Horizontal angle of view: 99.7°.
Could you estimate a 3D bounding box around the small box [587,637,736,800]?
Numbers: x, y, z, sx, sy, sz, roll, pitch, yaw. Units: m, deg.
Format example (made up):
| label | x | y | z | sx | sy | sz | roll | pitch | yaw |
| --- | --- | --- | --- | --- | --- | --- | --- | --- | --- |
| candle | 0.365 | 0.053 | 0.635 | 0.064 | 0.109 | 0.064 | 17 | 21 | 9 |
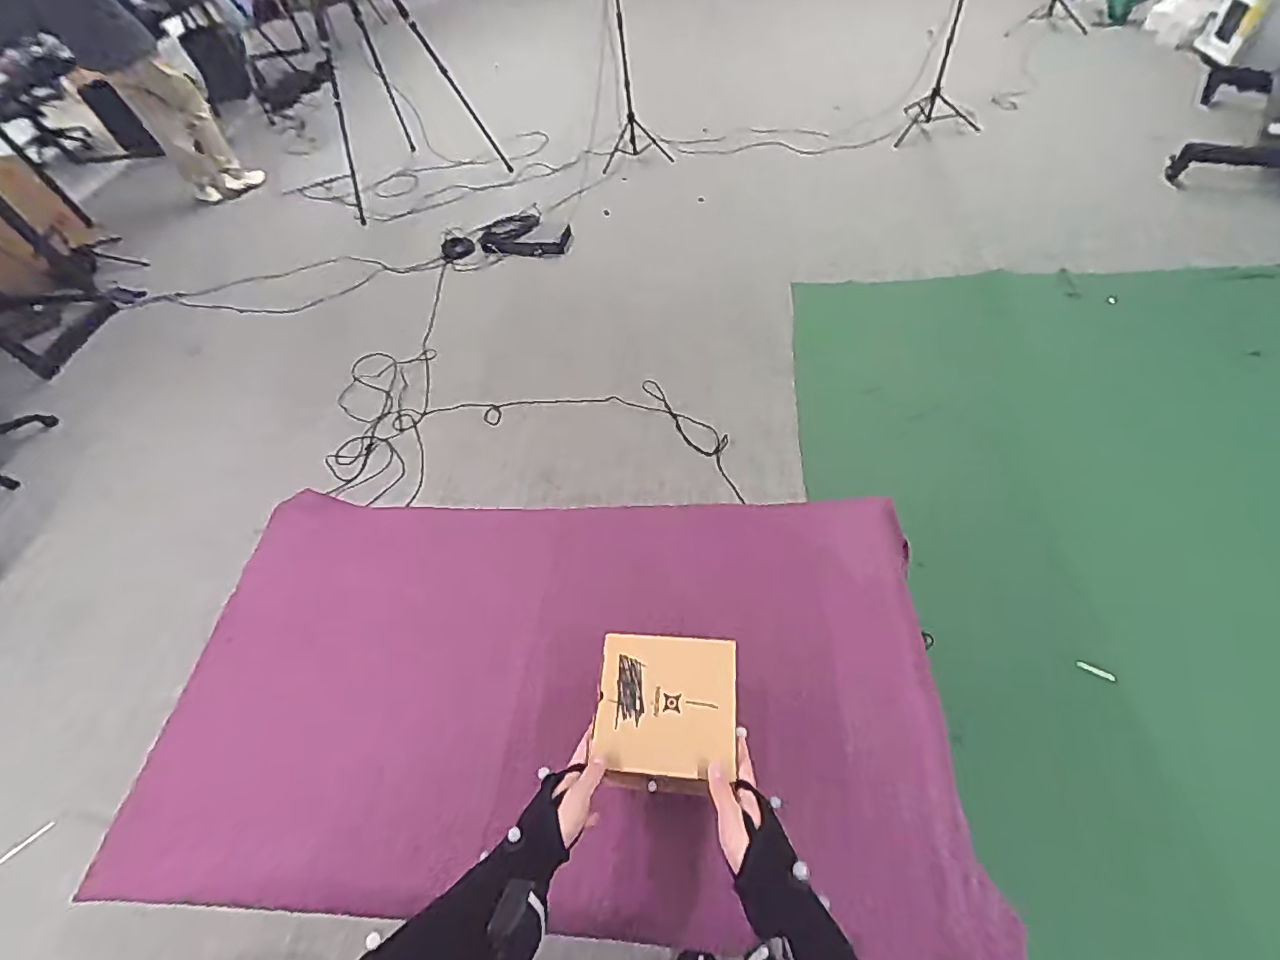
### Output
| label | x | y | z | sx | sy | sz | roll | pitch | yaw |
| --- | --- | --- | --- | --- | --- | --- | --- | --- | --- |
| small box | 0.039 | 0.326 | 0.735 | 0.179 | 0.176 | 0.168 | 1 | 54 | 8 |
